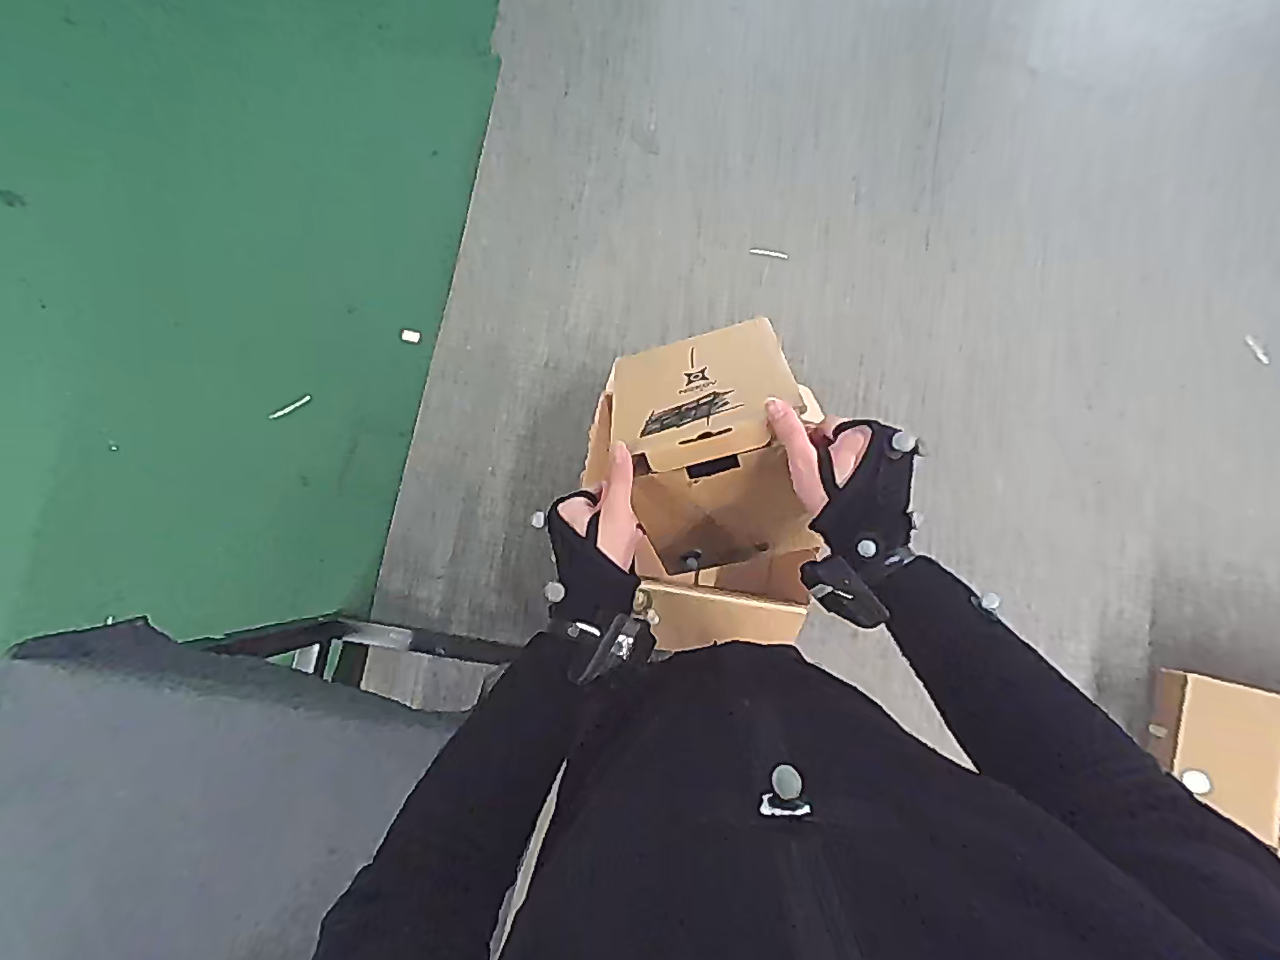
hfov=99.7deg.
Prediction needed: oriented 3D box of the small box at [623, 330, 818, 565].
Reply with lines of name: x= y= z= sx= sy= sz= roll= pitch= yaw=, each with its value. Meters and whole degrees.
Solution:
small box: x=0.086 y=-0.024 z=0.578 sx=0.168 sy=0.176 sz=0.179 roll=-13 pitch=46 yaw=12
